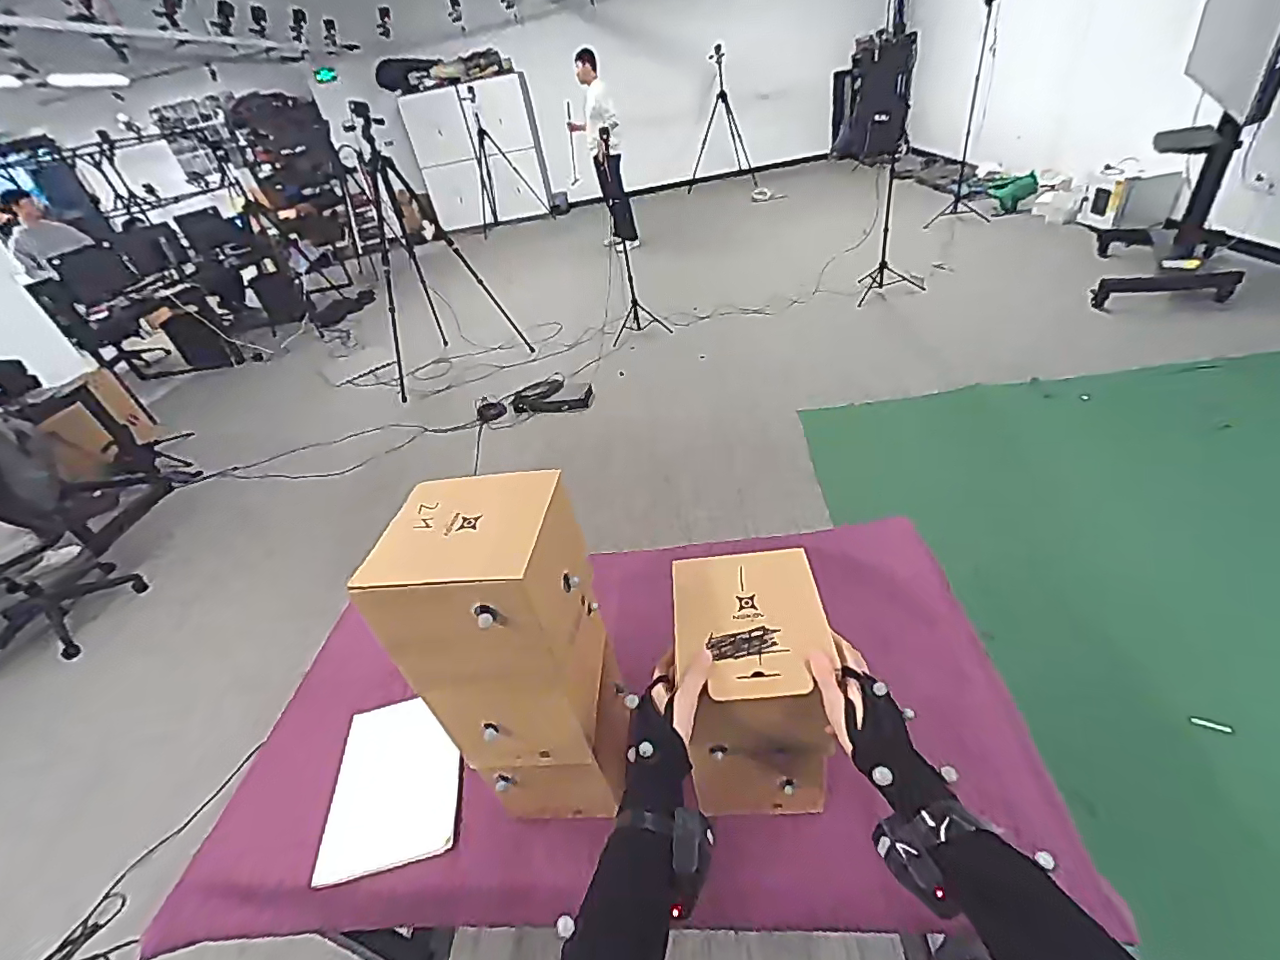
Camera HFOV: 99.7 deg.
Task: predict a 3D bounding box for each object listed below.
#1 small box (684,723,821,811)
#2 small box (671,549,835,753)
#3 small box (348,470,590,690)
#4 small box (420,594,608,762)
[{"bbox_3d":[0.152,0.337,0.752,0.168,0.176,0.179,-6,35,8],"label":"small box"},{"bbox_3d":[0.130,0.210,0.653,0.168,0.176,0.179,-6,36,7],"label":"small box"},{"bbox_3d":[-0.162,0.109,0.587,0.179,0.176,0.168,-5,35,10],"label":"small box"},{"bbox_3d":[-0.142,0.238,0.688,0.168,0.176,0.179,-6,35,8],"label":"small box"}]
